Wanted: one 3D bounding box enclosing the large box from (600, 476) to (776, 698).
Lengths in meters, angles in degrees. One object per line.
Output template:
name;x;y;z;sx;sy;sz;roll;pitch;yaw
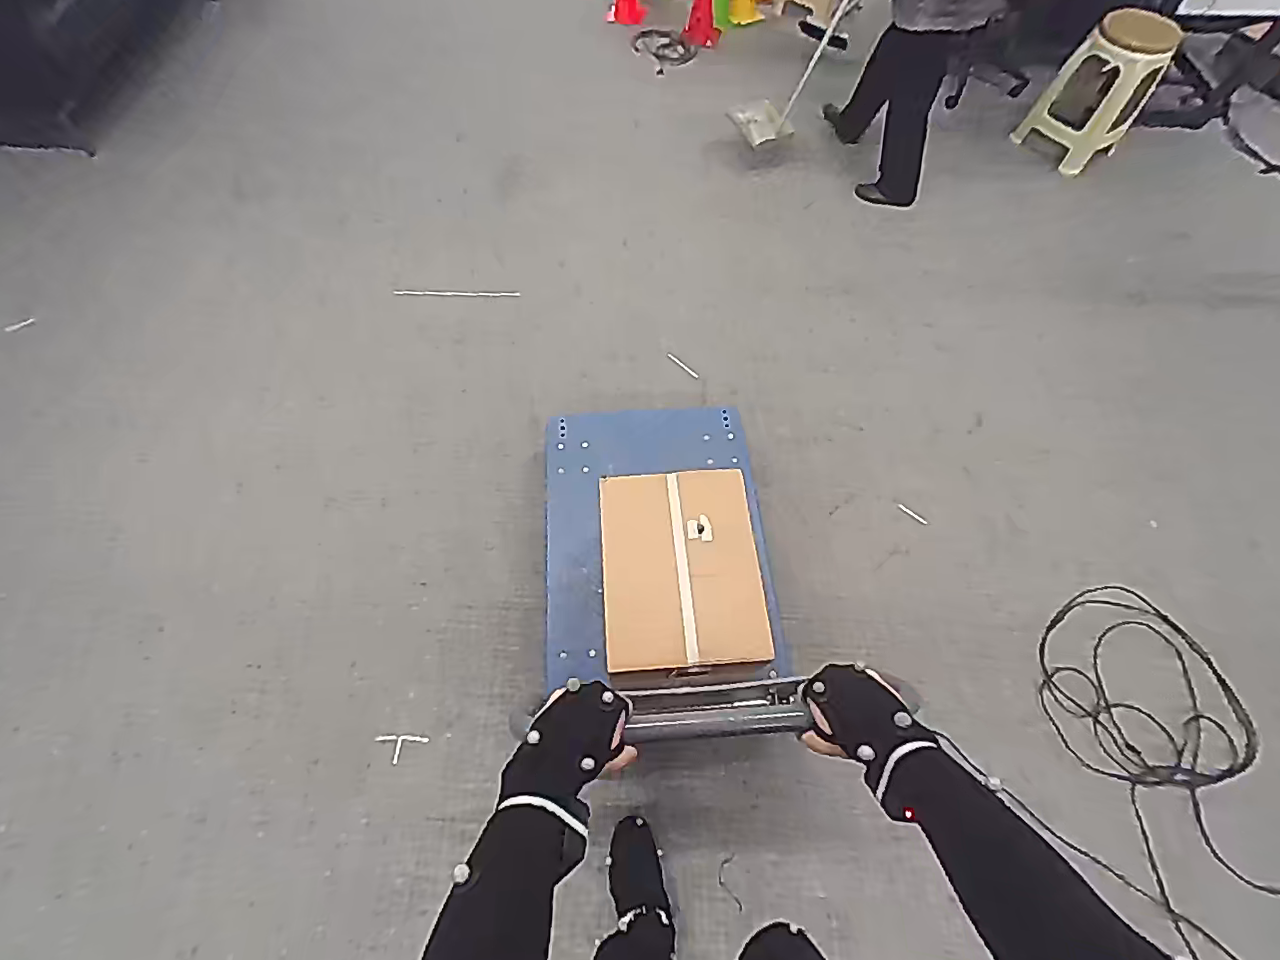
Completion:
large box;0.083;0.247;1.216;0.320;0.320;0.408;-4;61;-3
